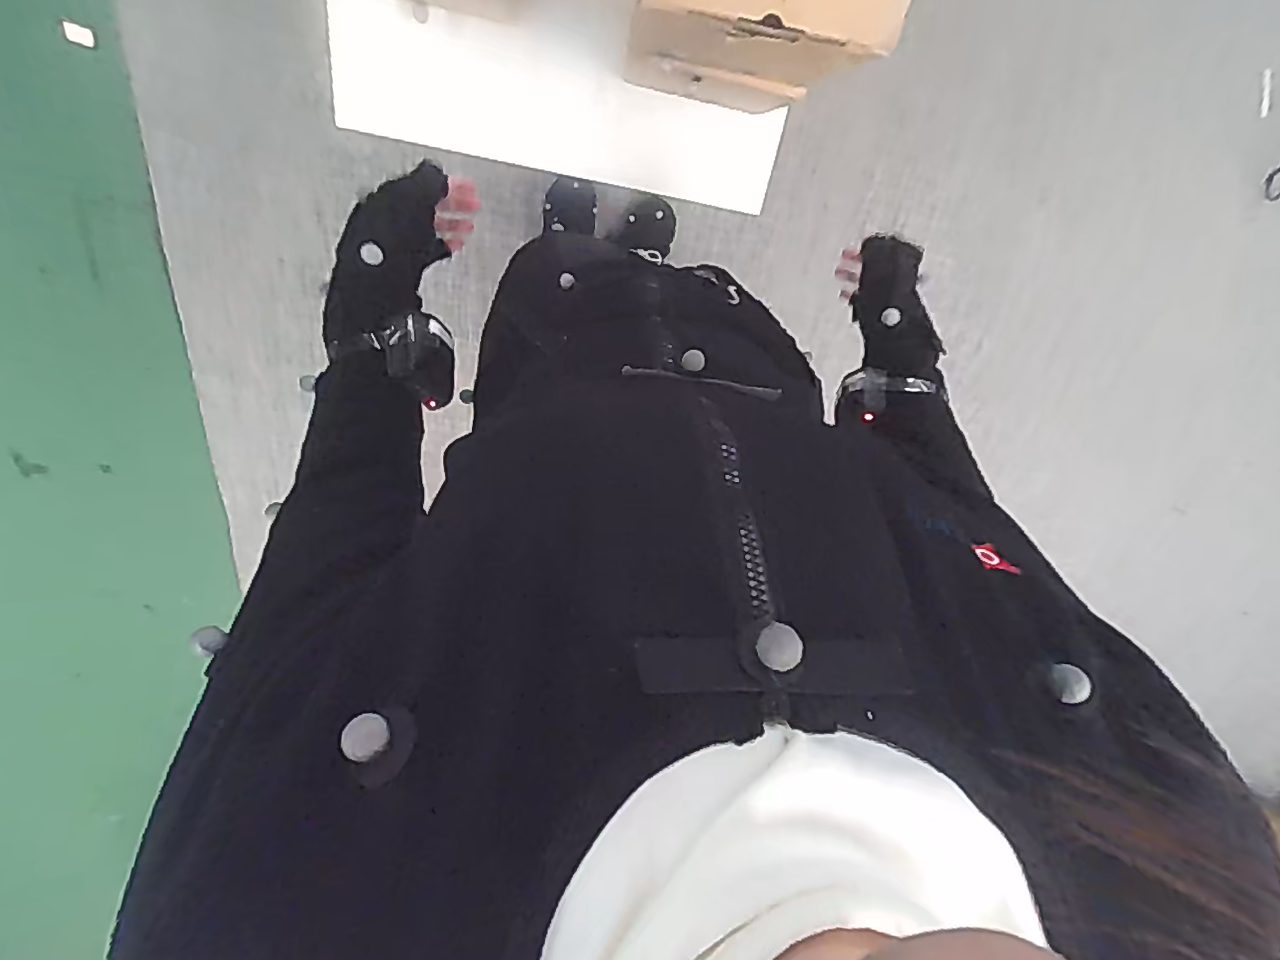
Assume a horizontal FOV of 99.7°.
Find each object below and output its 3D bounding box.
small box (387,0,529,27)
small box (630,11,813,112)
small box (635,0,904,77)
[{"bbox_3d":[-0.183,-0.527,0.461,0.168,0.176,0.179,6,122,-7],"label":"small box"},{"bbox_3d":[0.084,-0.472,0.508,0.168,0.176,0.179,8,119,-7],"label":"small box"},{"bbox_3d":[0.088,-0.395,0.362,0.168,0.176,0.179,6,120,-6],"label":"small box"}]
